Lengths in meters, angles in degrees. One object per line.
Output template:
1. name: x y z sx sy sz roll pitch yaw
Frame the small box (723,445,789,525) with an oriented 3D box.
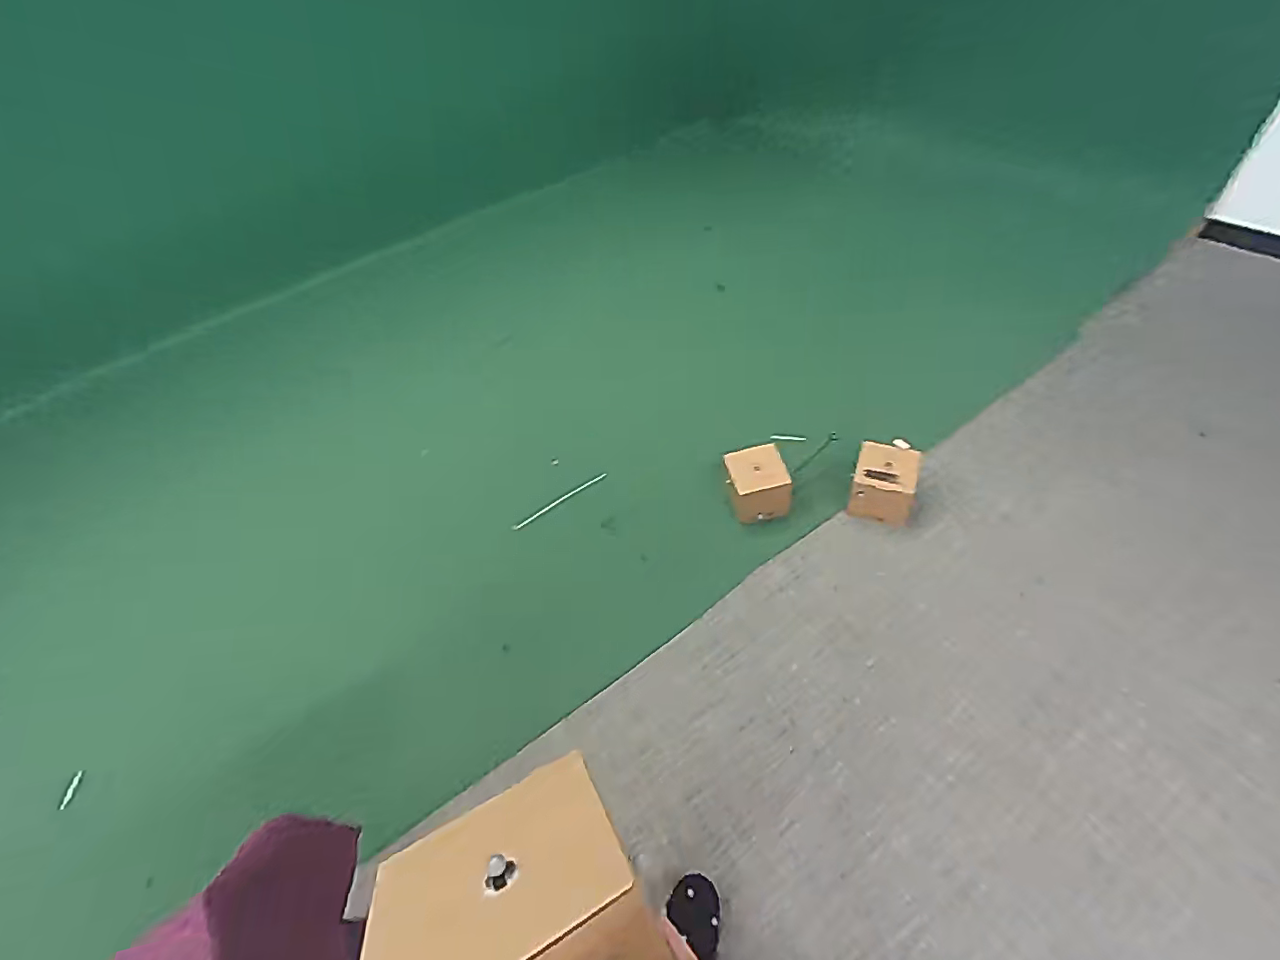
1. small box: 0.369 0.019 1.748 0.168 0.176 0.179 -14 49 0

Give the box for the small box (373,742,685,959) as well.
1. small box: -0.072 0.335 0.392 0.179 0.168 0.176 -23 8 -17
